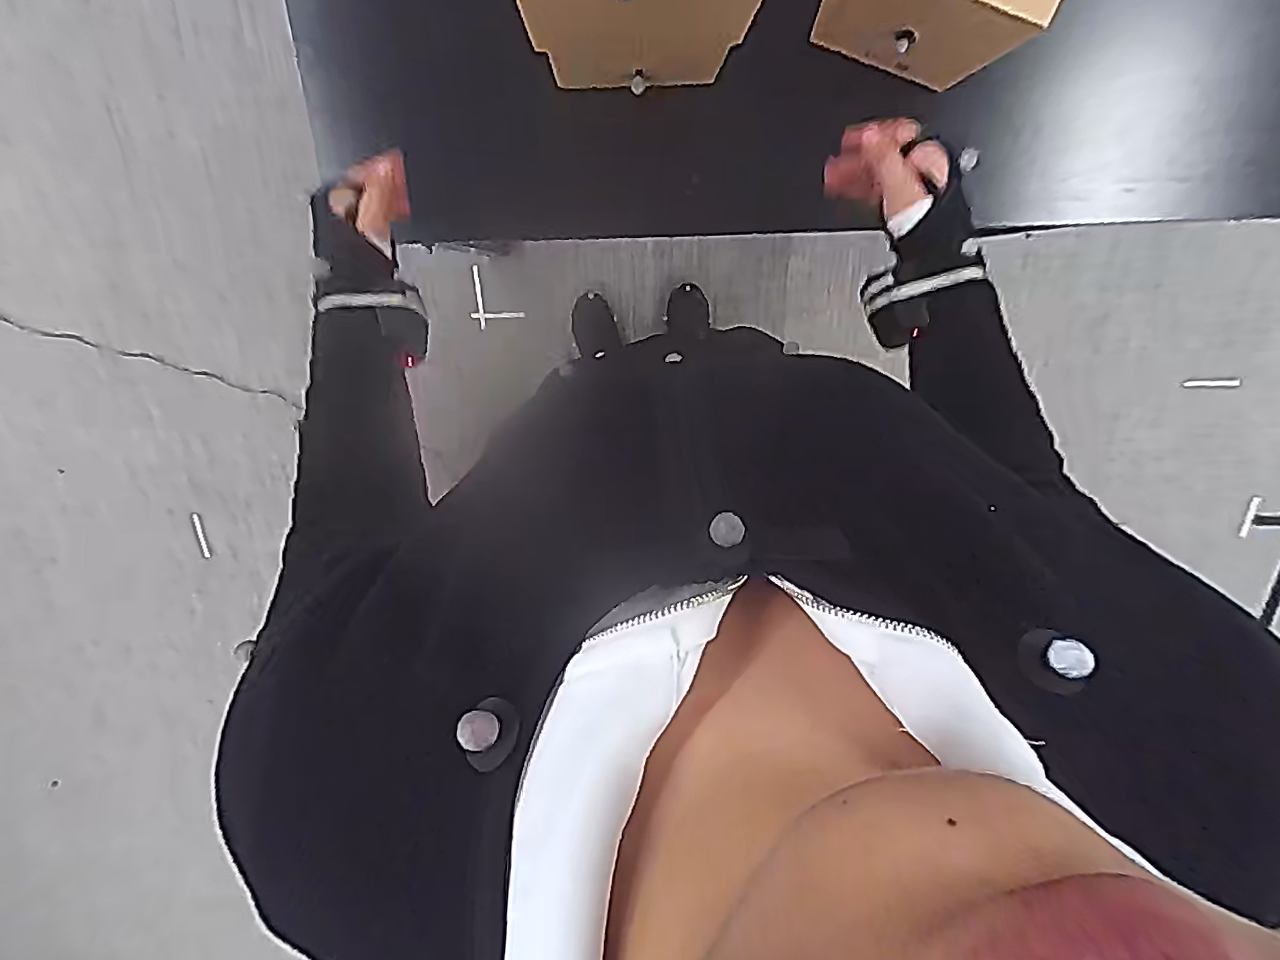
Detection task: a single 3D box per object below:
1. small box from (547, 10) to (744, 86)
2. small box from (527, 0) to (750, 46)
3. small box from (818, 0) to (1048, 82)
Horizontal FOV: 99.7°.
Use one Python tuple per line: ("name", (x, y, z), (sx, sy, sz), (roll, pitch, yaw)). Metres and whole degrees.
("small box", (-0.004, -0.494, 0.507), (0.179, 0.176, 0.168), (-3, 110, -2))
("small box", (-0.001, -0.419, 0.359), (0.179, 0.176, 0.168), (-3, 110, -1))
("small box", (0.290, -0.518, 0.508), (0.168, 0.176, 0.179), (15, 108, -8))
